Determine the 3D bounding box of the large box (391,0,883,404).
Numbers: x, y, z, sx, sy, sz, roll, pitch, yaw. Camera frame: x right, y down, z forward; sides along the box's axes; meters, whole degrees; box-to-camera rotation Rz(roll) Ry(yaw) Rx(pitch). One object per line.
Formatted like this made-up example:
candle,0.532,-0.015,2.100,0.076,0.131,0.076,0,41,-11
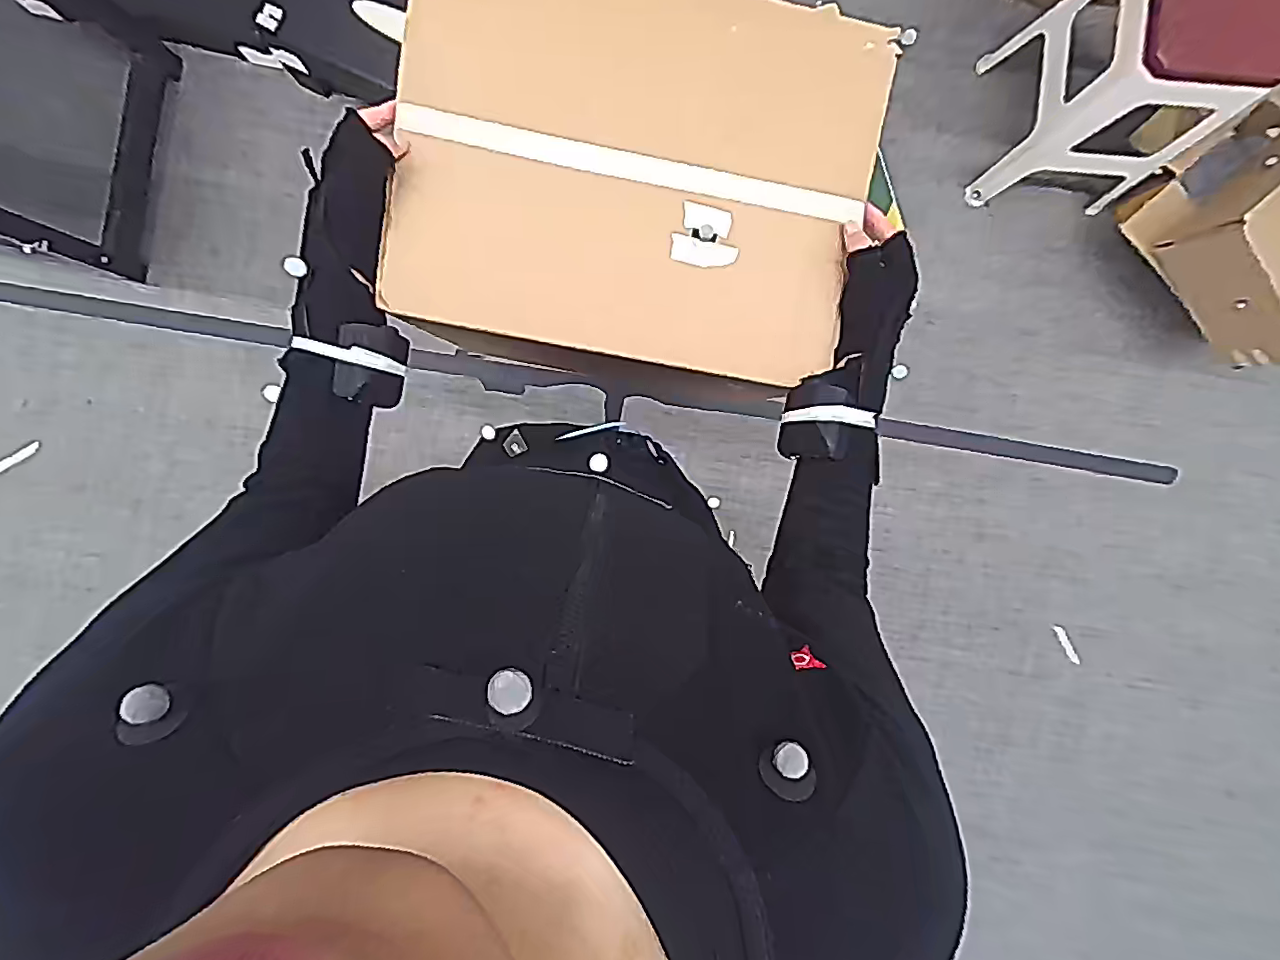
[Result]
large box,-0.015,-0.275,0.623,0.408,0.320,0.320,10,97,-6
